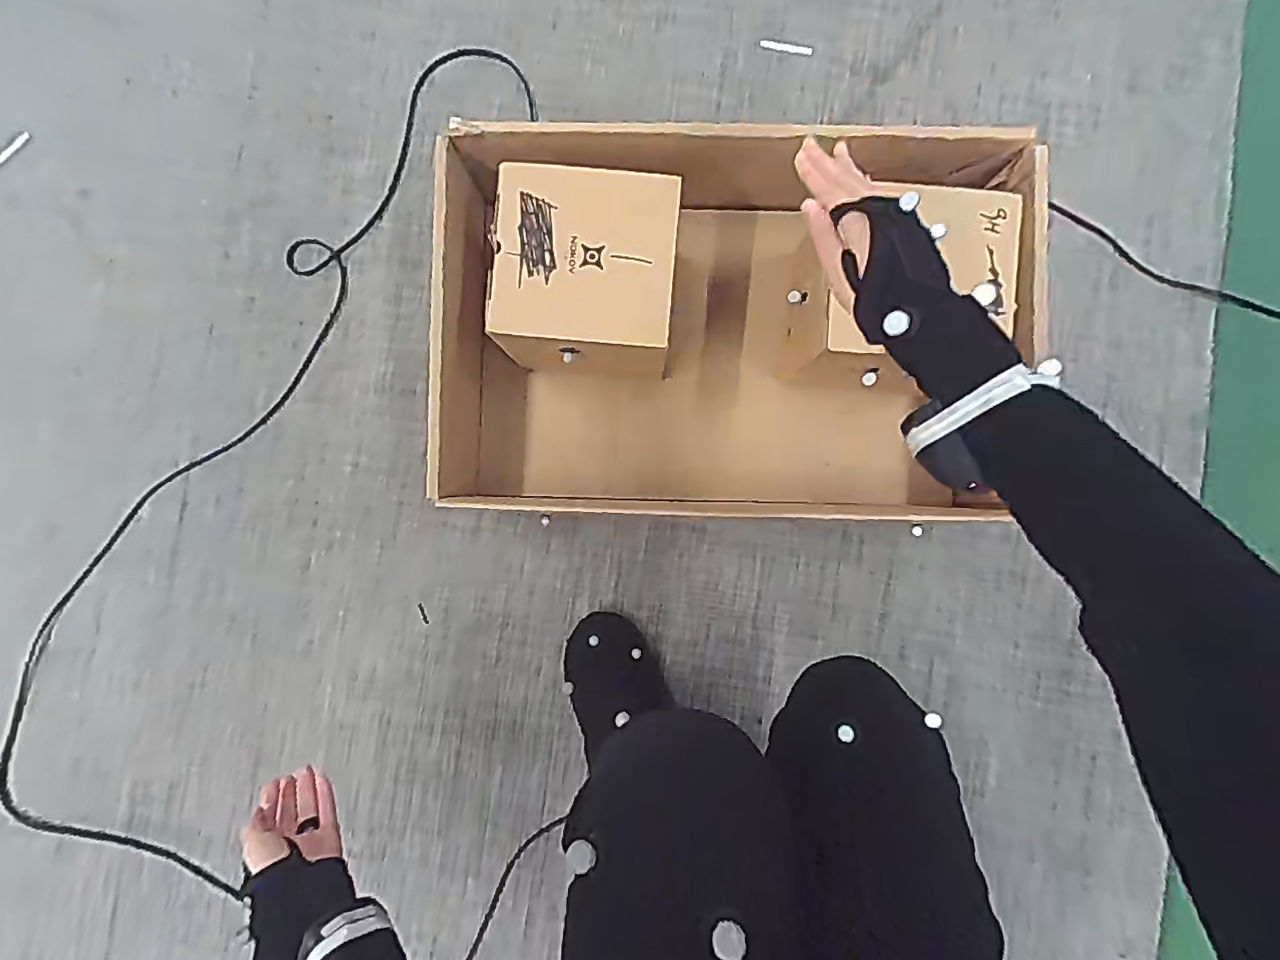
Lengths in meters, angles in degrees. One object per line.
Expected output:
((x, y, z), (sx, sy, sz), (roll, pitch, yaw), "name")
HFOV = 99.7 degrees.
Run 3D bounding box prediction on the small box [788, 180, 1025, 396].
((0.269, -0.192, 0.587), (0.179, 0.176, 0.168), (6, 89, 1), "small box")
